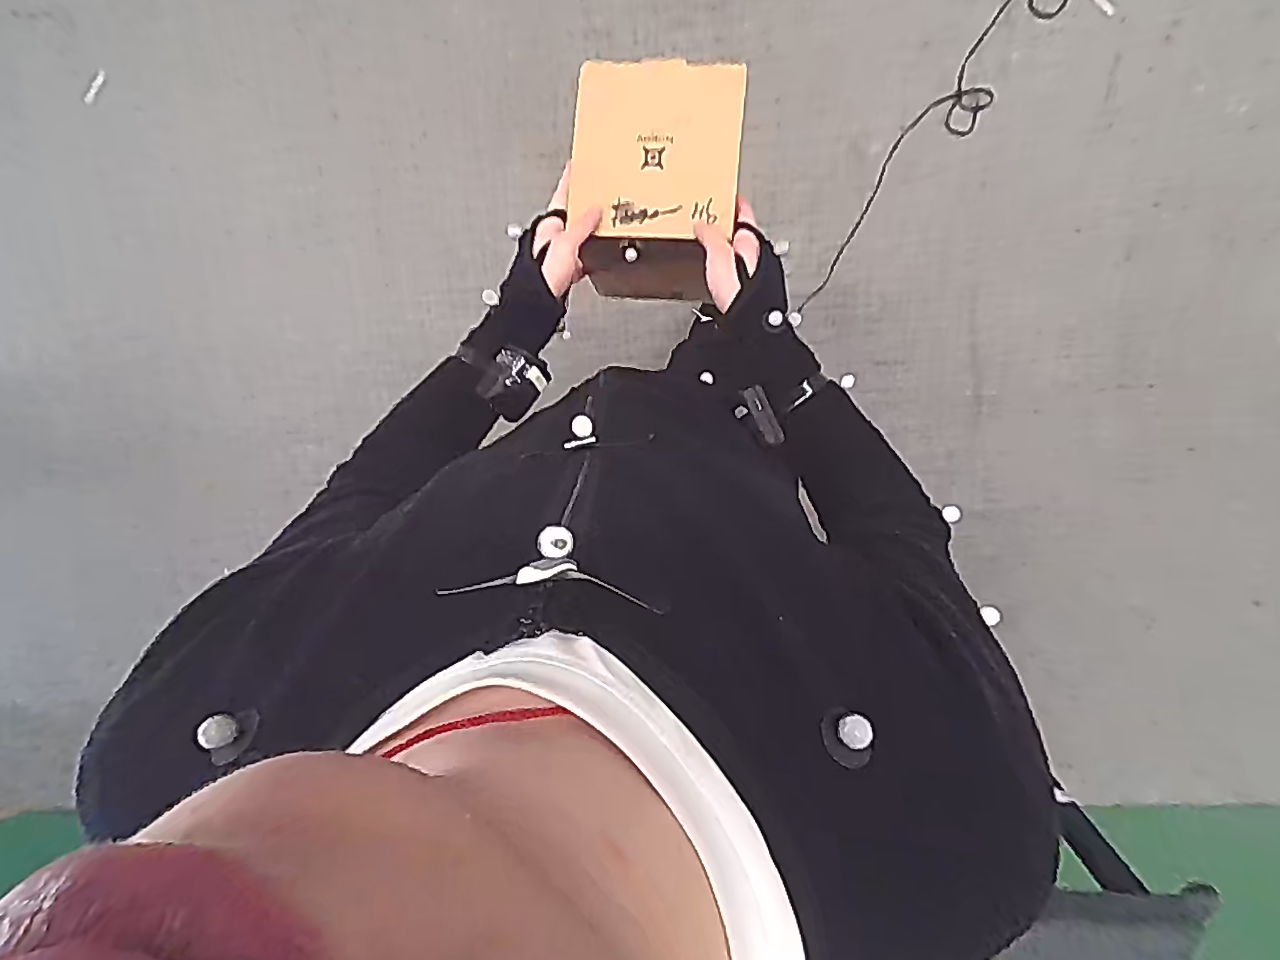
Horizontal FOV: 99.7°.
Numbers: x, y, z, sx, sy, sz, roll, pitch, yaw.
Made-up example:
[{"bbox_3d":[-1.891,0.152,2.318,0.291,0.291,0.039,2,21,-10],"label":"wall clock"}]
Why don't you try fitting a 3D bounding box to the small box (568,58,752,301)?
[{"bbox_3d":[0.027,-0.322,0.605,0.168,0.176,0.179,6,88,8],"label":"small box"}]
